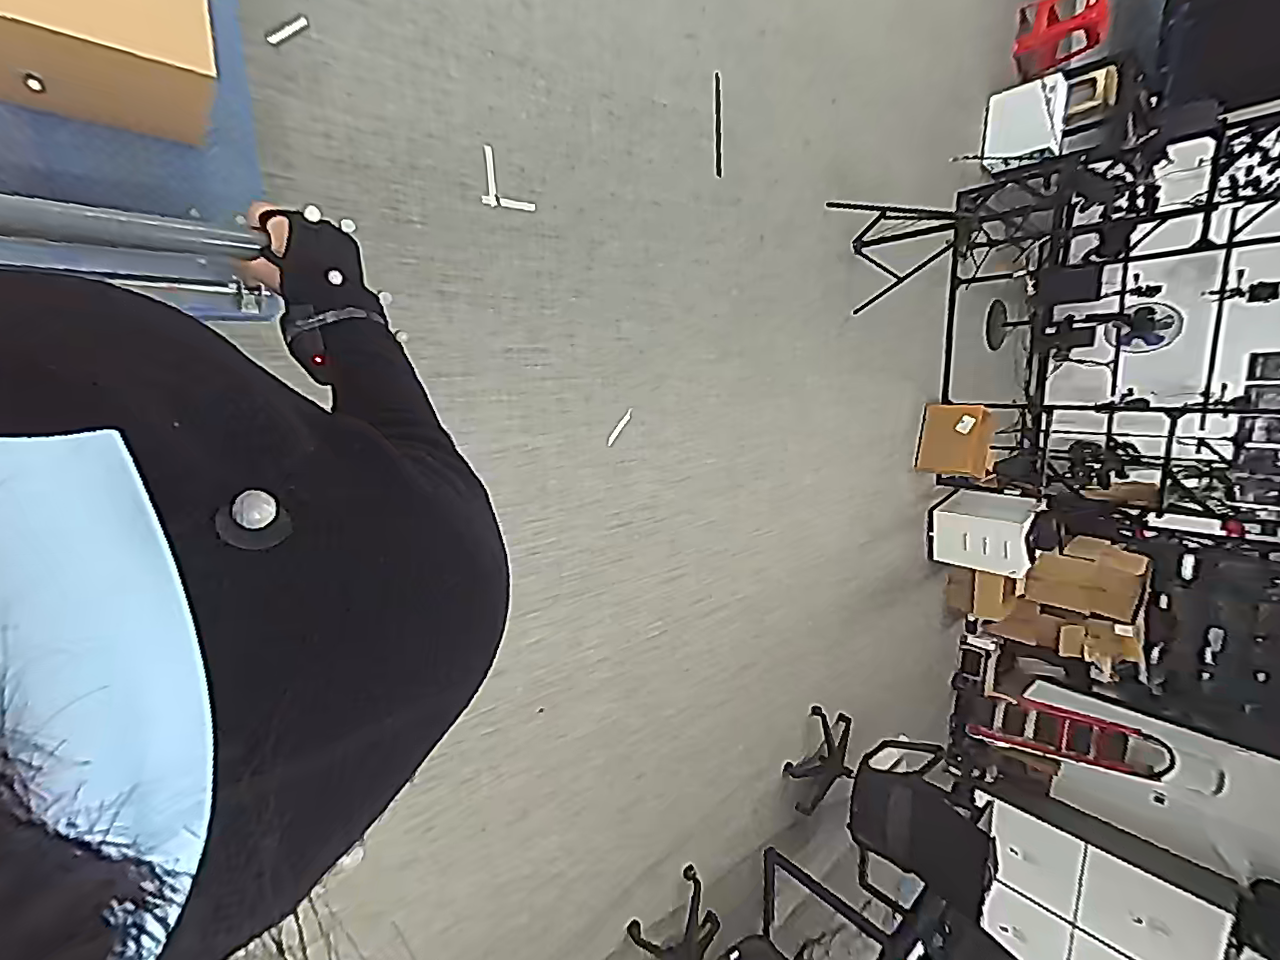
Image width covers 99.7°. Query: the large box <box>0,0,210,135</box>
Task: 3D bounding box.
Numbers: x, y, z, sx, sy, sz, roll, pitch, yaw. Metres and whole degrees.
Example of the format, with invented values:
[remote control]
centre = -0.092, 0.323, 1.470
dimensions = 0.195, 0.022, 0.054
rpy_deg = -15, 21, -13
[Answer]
[large box]
centre = -0.873, -0.738, 0.742
dimensions = 0.408, 0.320, 0.320
rpy_deg = -9, 102, -40
